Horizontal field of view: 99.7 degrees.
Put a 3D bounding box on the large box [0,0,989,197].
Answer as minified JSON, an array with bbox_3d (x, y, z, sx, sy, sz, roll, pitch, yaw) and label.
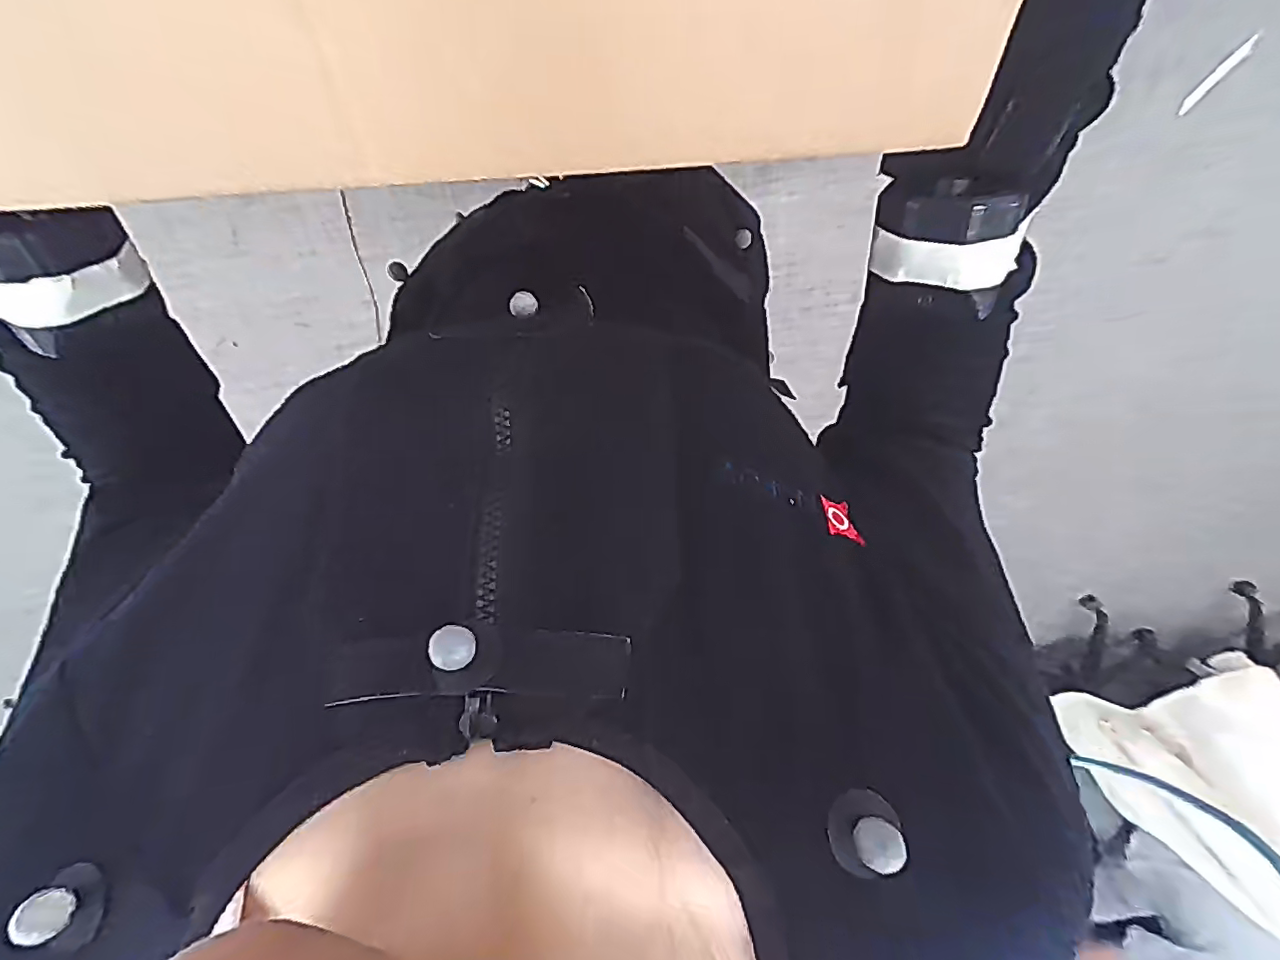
[{"bbox_3d":[-0.084,-0.345,0.205,0.408,0.320,0.320,-4,139,-1],"label":"large box"}]
